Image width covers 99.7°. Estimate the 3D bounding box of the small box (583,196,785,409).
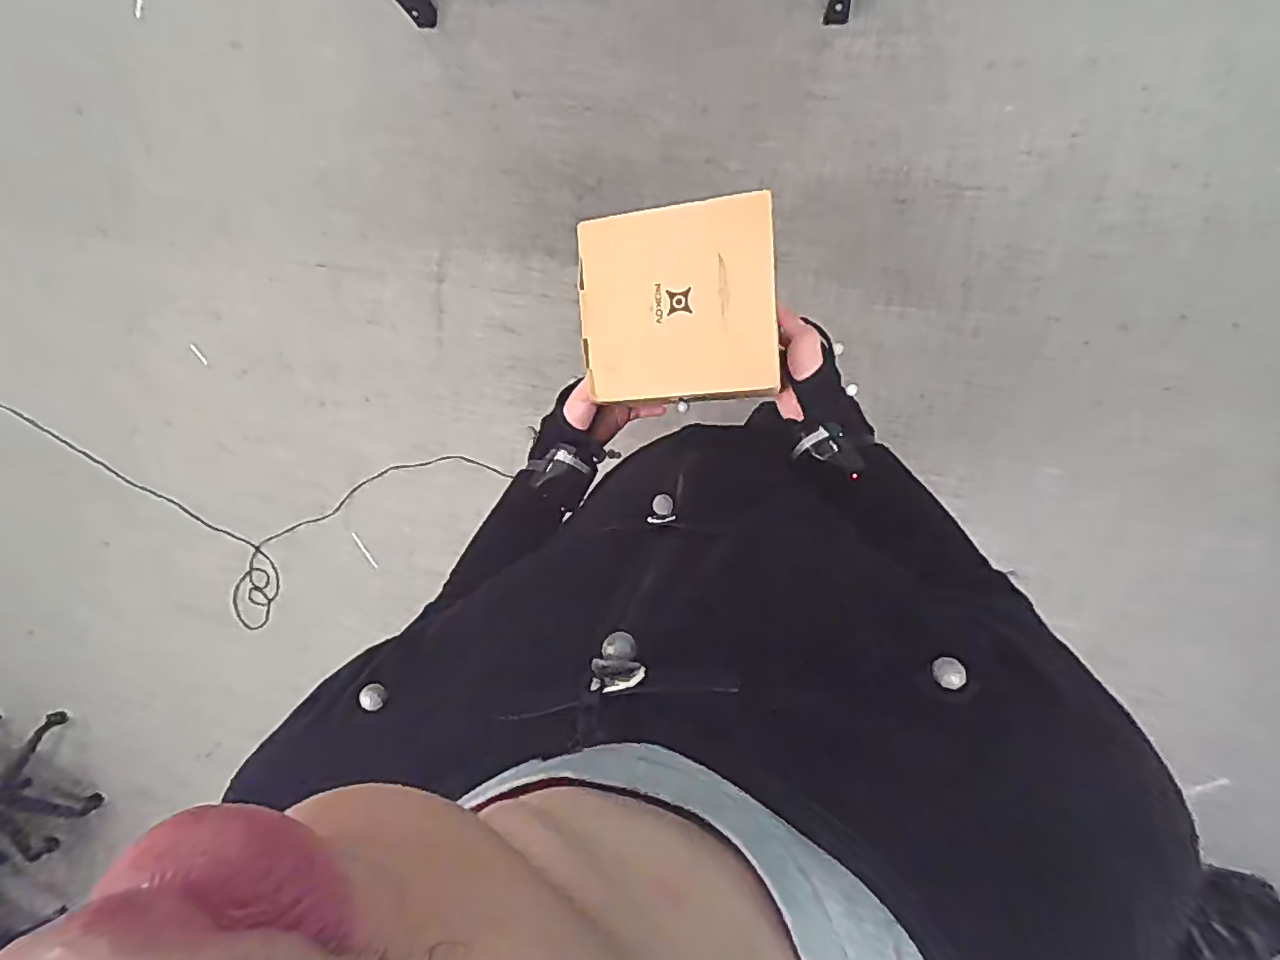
[{"bbox_3d":[0.056,-0.162,0.557,0.179,0.176,0.168,-3,96,14],"label":"small box"}]
